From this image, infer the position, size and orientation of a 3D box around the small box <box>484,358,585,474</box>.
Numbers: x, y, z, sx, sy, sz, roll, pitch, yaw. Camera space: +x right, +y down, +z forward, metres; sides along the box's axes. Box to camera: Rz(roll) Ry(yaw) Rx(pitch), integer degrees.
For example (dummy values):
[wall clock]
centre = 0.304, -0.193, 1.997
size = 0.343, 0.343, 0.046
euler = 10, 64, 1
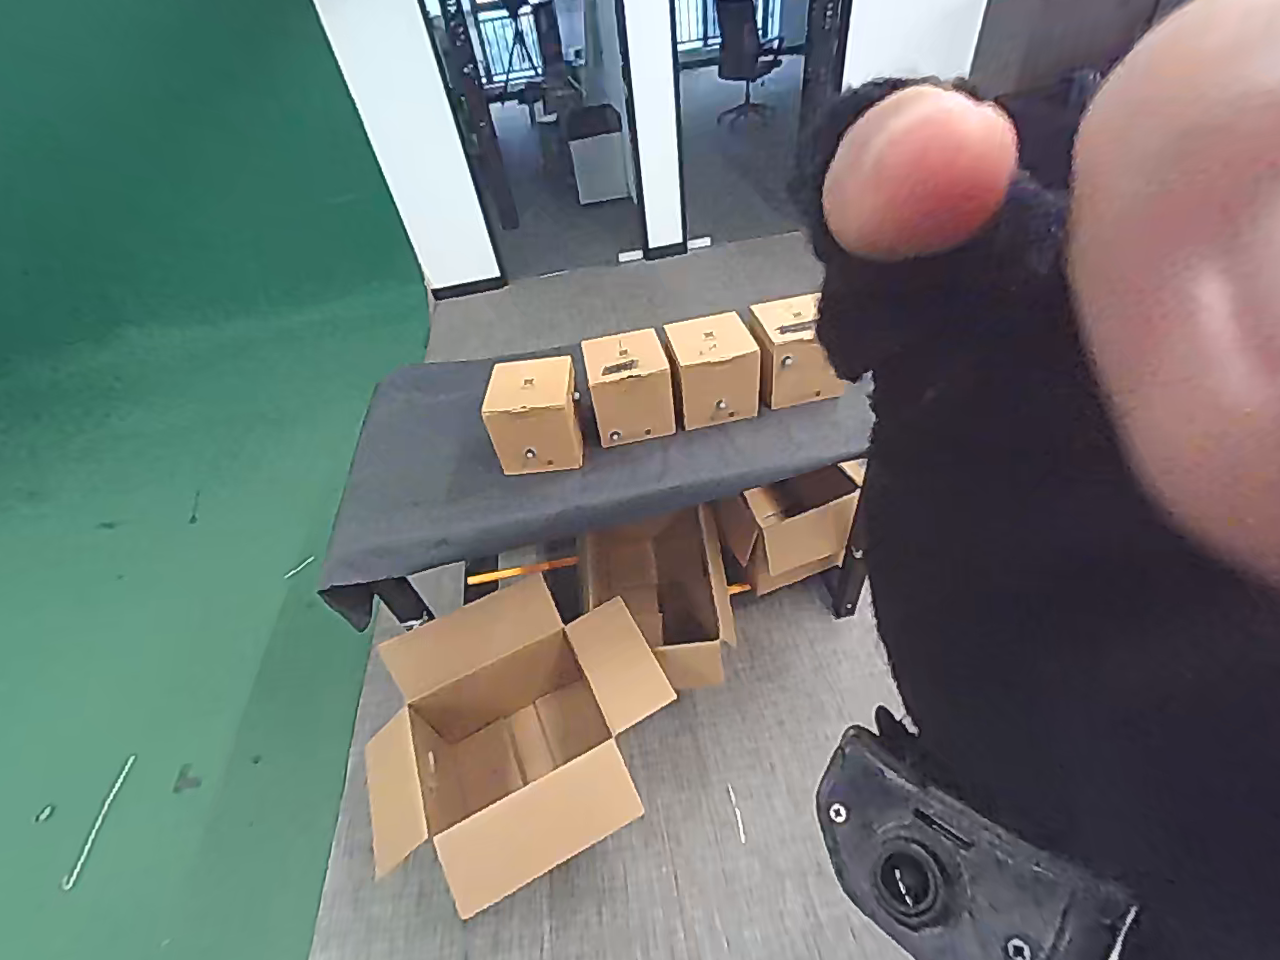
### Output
[small box]
centre = -0.213, -0.135, 1.144
size = 0.168, 0.176, 0.179
euler = -6, 45, 3
